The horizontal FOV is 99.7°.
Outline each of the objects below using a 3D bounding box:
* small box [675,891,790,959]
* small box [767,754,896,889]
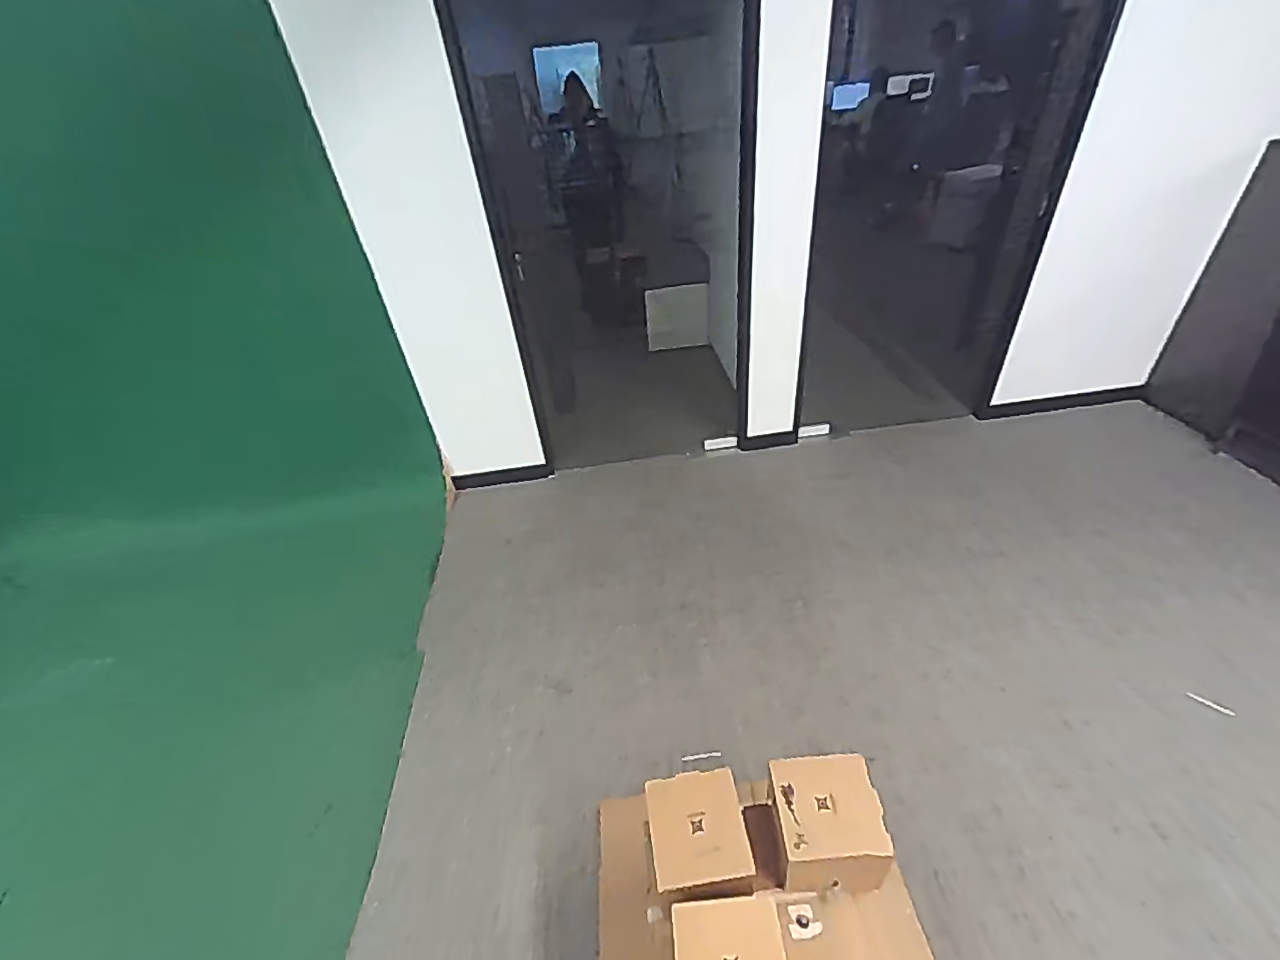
[{"bbox_3d":[0.144,0.772,0.836,0.168,0.176,0.179,-6,39,0],"label":"small box"},{"bbox_3d":[0.338,0.626,0.992,0.179,0.176,0.168,-5,38,3],"label":"small box"}]
